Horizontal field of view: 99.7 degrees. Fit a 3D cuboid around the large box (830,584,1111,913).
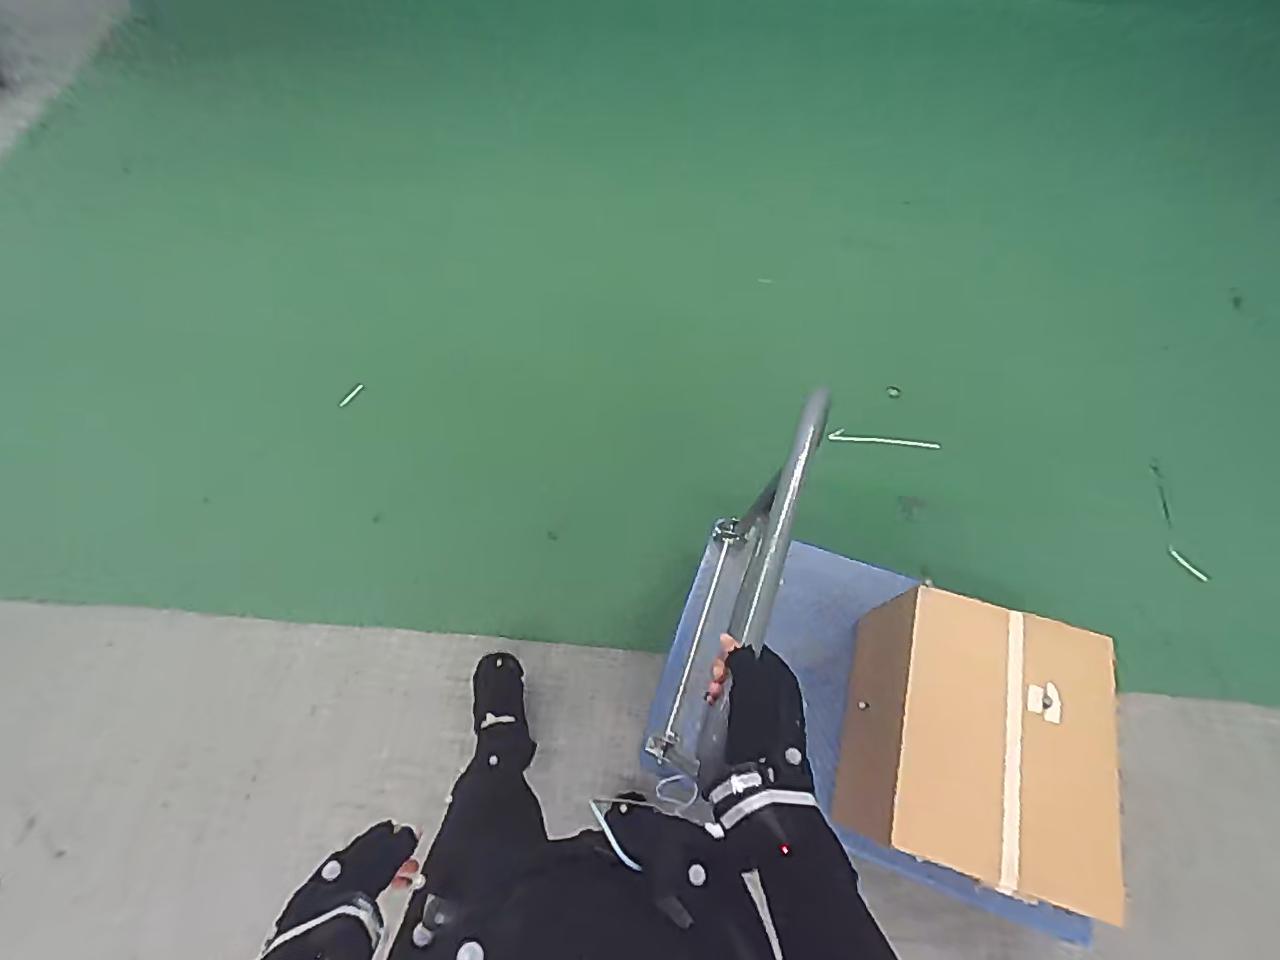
[{"bbox_3d":[0.564,0.458,0.980,0.320,0.320,0.408,16,65,8],"label":"large box"}]
